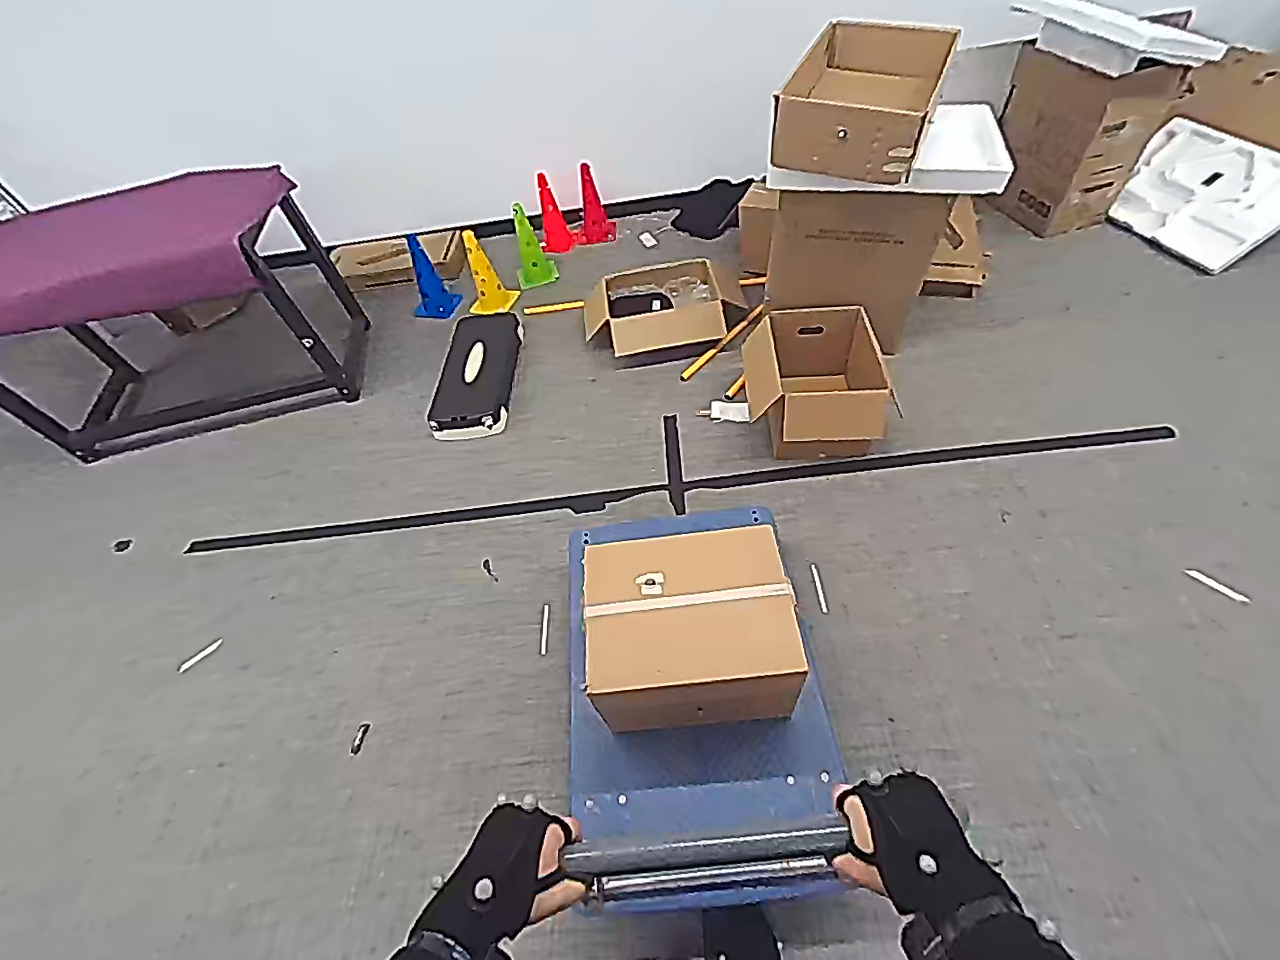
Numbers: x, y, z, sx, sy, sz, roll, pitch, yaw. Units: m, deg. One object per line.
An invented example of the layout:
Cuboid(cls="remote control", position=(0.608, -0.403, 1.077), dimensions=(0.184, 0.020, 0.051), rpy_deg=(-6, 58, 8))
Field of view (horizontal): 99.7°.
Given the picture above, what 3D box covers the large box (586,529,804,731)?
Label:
Cuboid(cls="large box", position=(0.112, 0.342, 1.200), dimensions=(0.408, 0.320, 0.320), rpy_deg=(-8, 51, 4))
